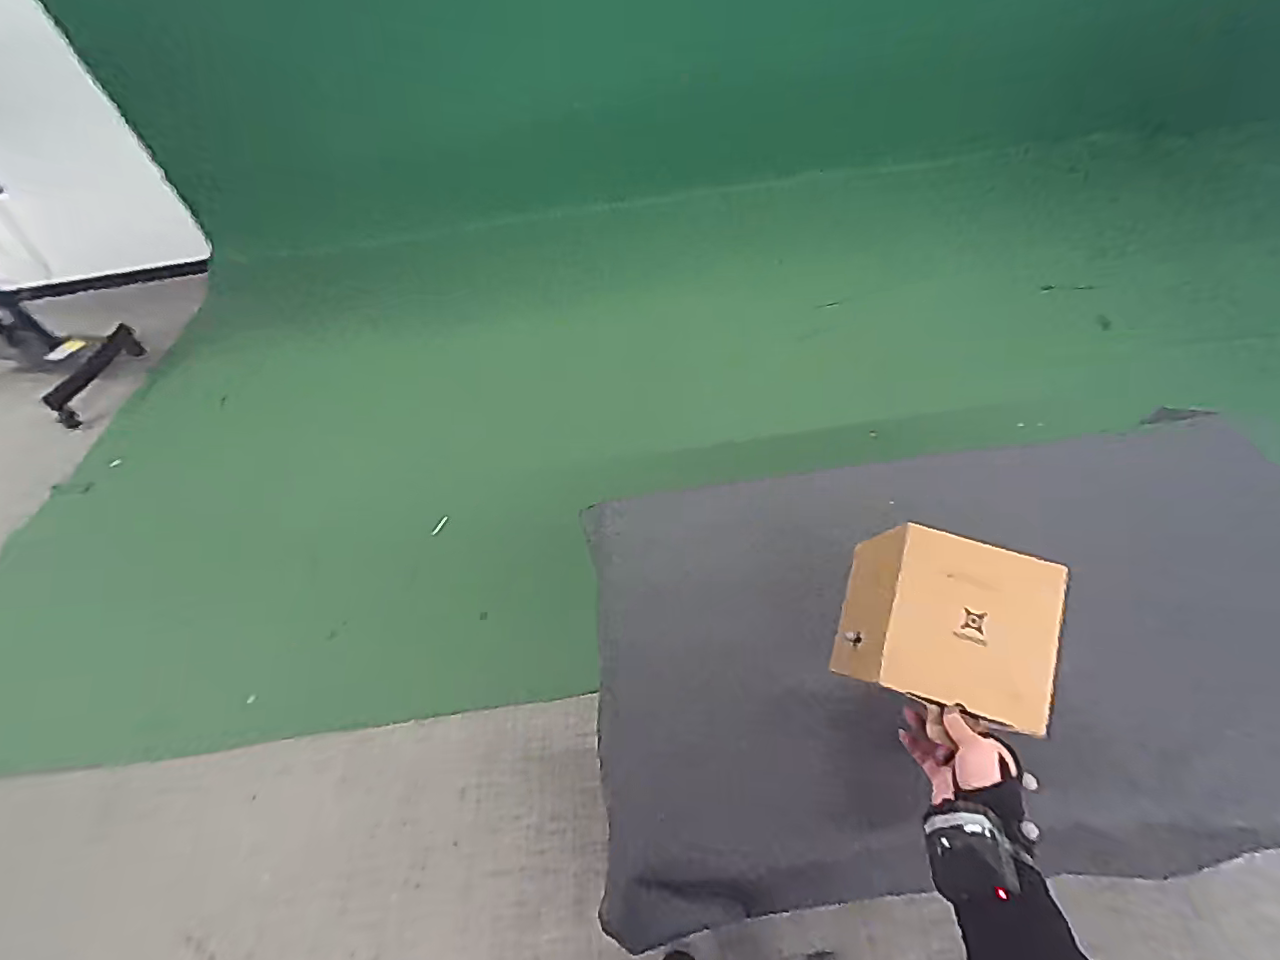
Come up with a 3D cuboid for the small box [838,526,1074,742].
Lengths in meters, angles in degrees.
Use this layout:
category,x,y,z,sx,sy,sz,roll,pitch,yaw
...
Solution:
category,x,y,z,sx,sy,sz,roll,pitch,yaw
small box,0.351,0.172,0.632,0.168,0.176,0.179,19,77,5
